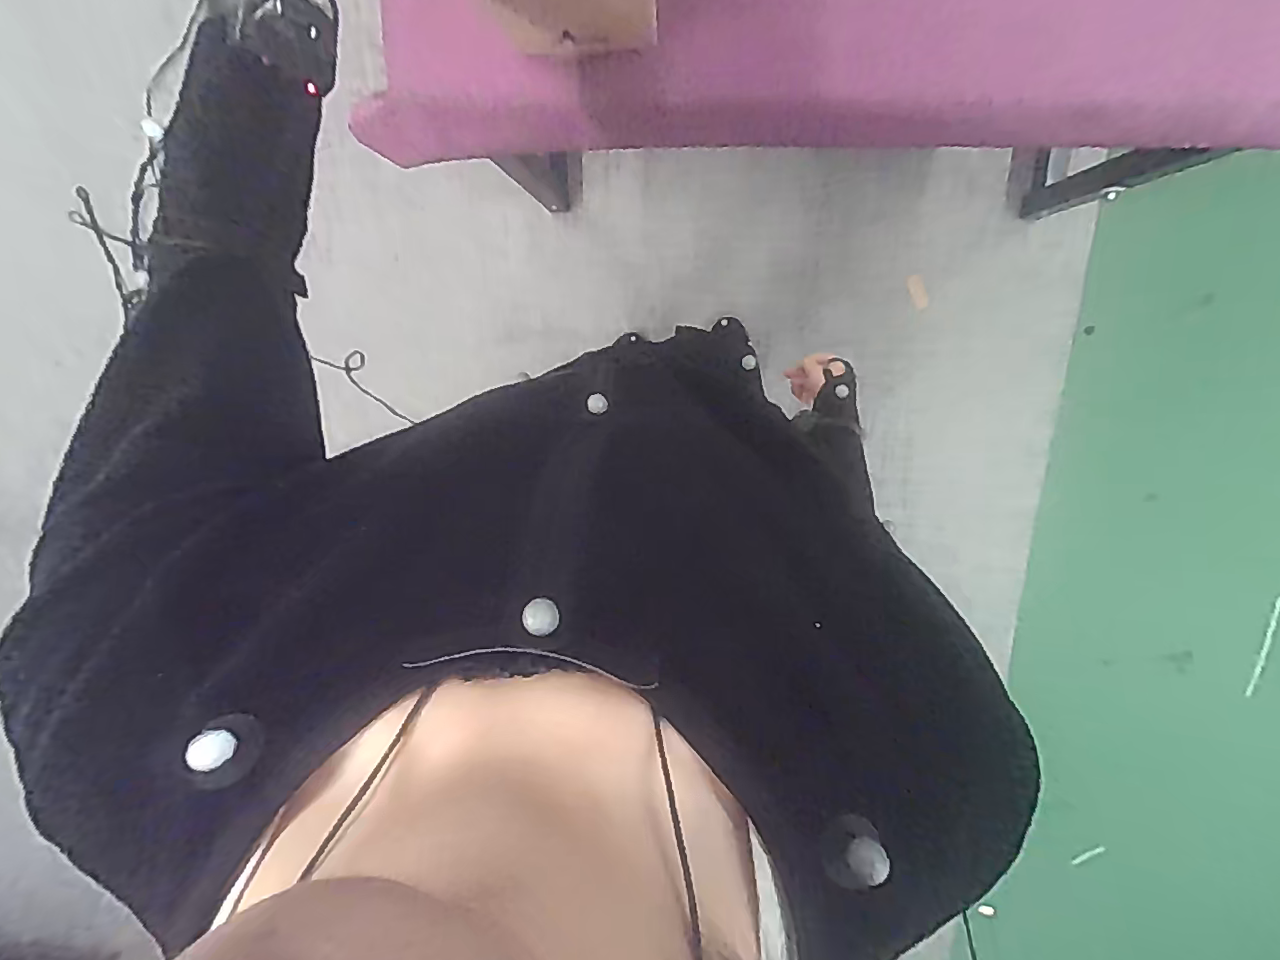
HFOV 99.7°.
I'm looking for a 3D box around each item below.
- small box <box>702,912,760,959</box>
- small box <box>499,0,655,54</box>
[{"bbox_3d":[0.308,1.594,1.814,0.179,0.176,0.168,-13,103,10],"label":"small box"},{"bbox_3d":[-0.070,-0.573,0.543,0.168,0.176,0.179,1,105,5],"label":"small box"}]
